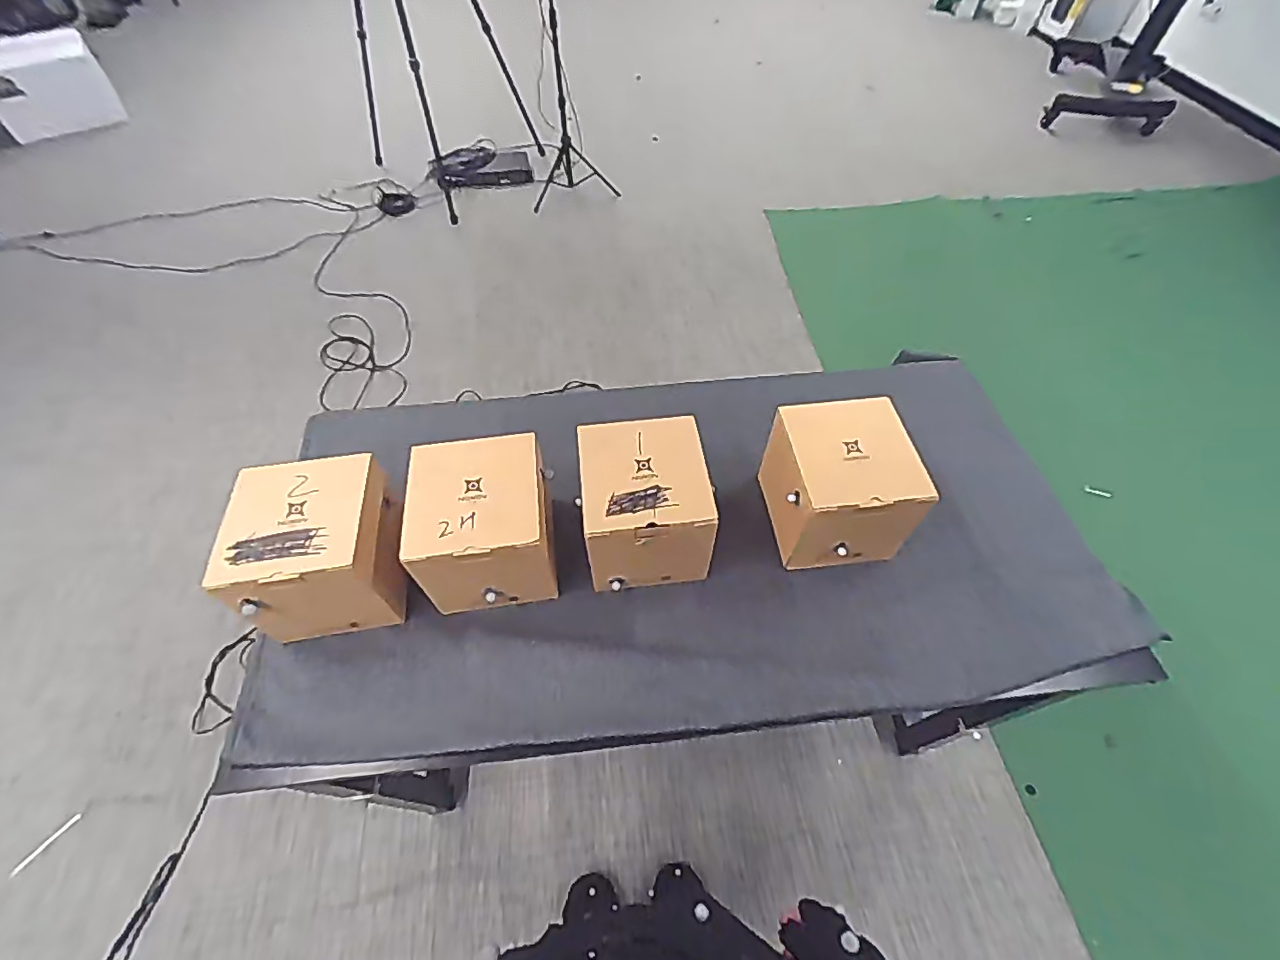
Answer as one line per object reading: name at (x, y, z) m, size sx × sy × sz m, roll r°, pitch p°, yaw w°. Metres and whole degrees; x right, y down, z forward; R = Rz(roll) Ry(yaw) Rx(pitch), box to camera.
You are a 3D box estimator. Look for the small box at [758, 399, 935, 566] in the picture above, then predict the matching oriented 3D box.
small box at (0.282, 0.006, 0.789) m, size 0.168 × 0.176 × 0.179 m, roll -6°, pitch 56°, yaw -4°
